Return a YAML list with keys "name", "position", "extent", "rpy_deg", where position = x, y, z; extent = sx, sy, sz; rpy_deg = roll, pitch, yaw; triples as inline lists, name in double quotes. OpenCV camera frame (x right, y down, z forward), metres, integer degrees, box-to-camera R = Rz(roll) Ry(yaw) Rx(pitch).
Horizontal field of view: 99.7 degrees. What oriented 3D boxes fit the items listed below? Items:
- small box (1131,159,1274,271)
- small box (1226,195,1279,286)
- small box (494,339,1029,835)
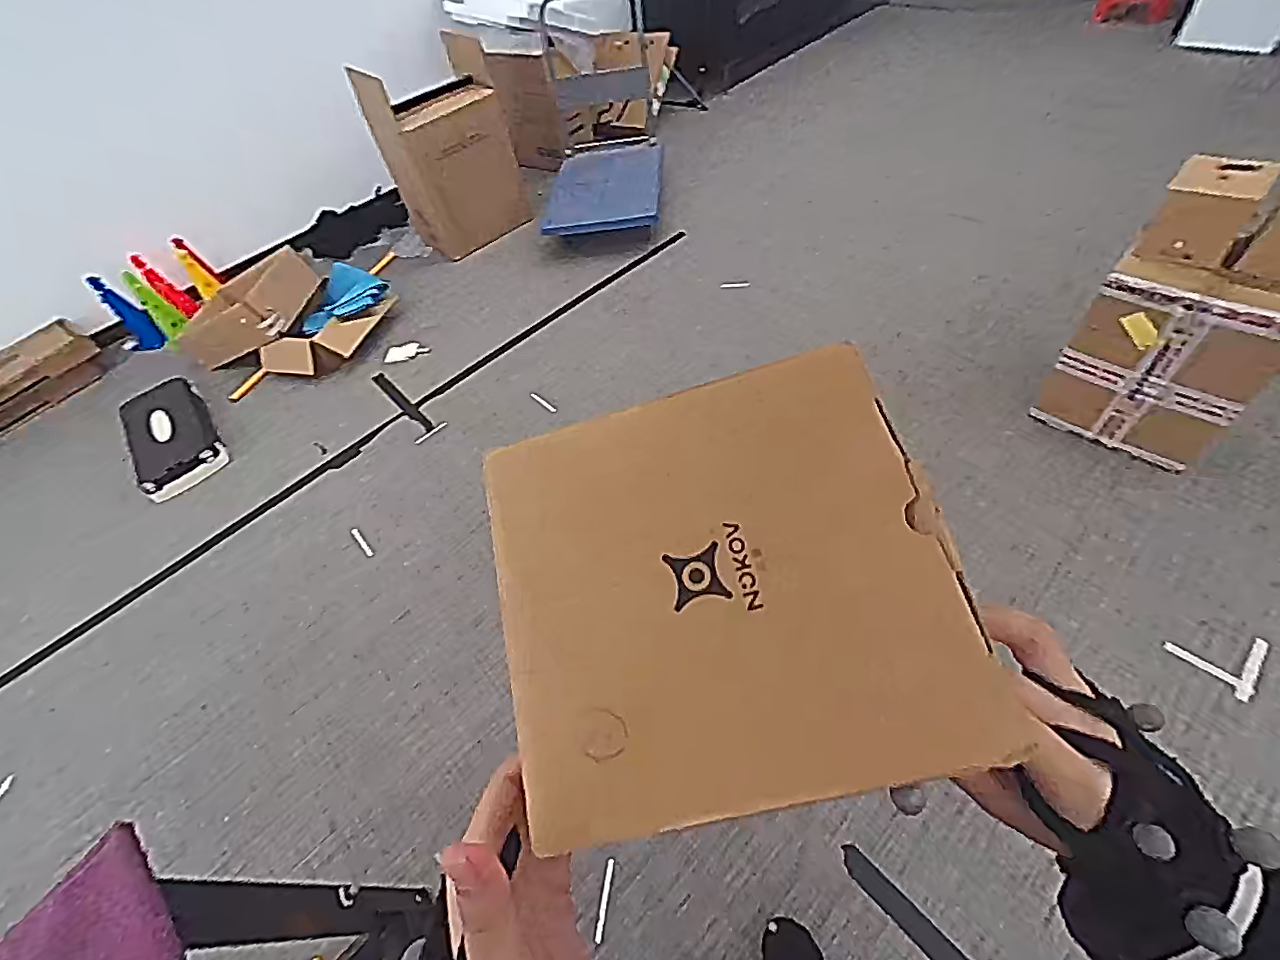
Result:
- name: "small box"
  position: [1.331, -0.633, 1.293]
  extent: [0.168, 0.176, 0.179]
  rpy_deg: [32, 66, 34]
- name: "small box"
  position: [1.477, -0.549, 1.192]
  extent: [0.168, 0.176, 0.179]
  rpy_deg: [35, 67, 29]
- name: "small box"
  position: [0.046, 0.061, 0.288]
  extent: [0.179, 0.176, 0.168]
  rpy_deg: [-16, 68, 7]
